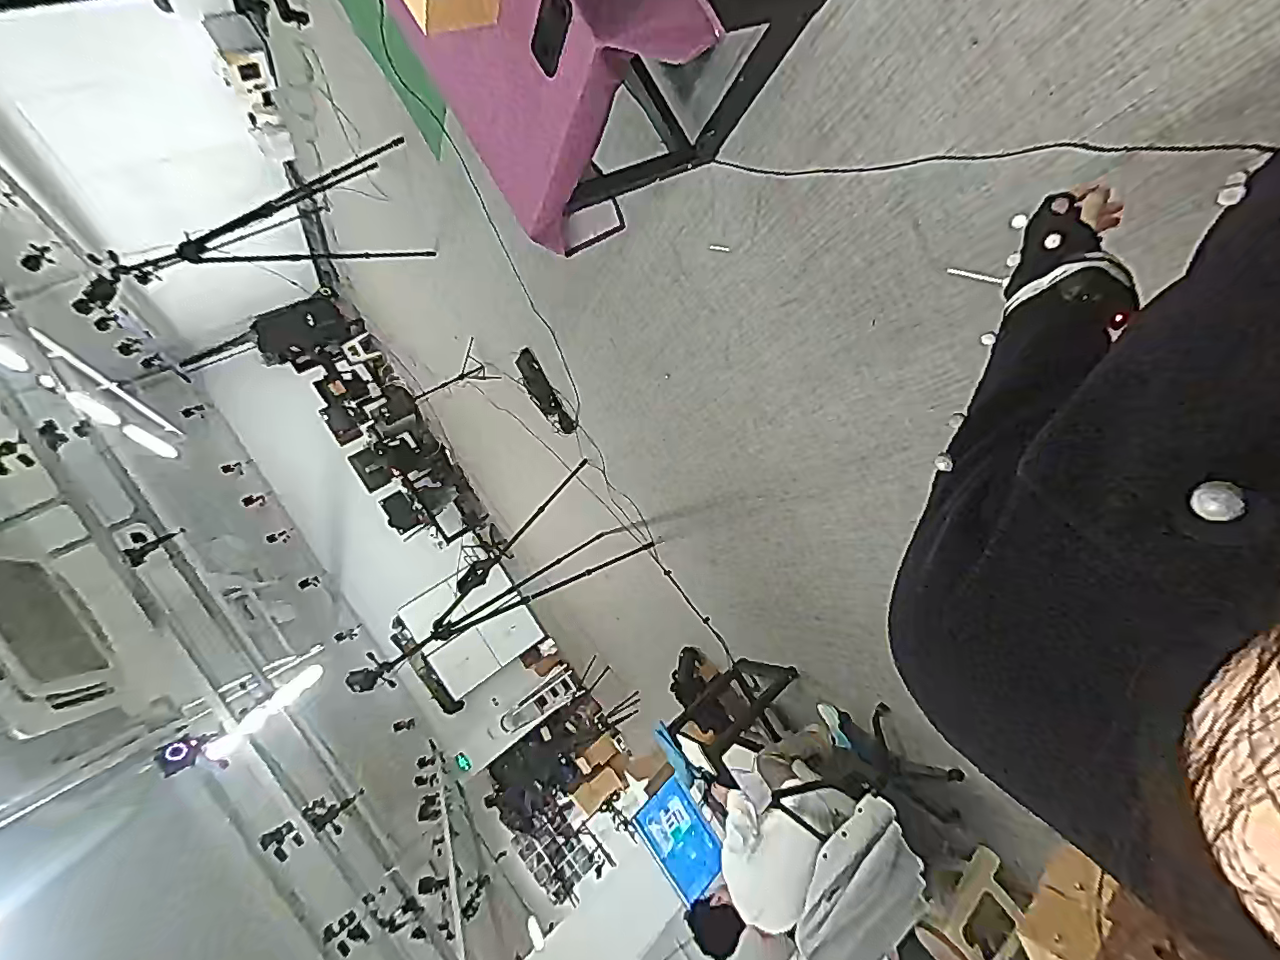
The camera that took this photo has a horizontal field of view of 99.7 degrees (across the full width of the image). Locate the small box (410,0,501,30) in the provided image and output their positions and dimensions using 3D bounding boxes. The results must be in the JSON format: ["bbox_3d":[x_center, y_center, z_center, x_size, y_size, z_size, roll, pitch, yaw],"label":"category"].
[{"bbox_3d":[-0.373,-1.026,1.041,0.168,0.176,0.179,58,154,-2],"label":"small box"}]
